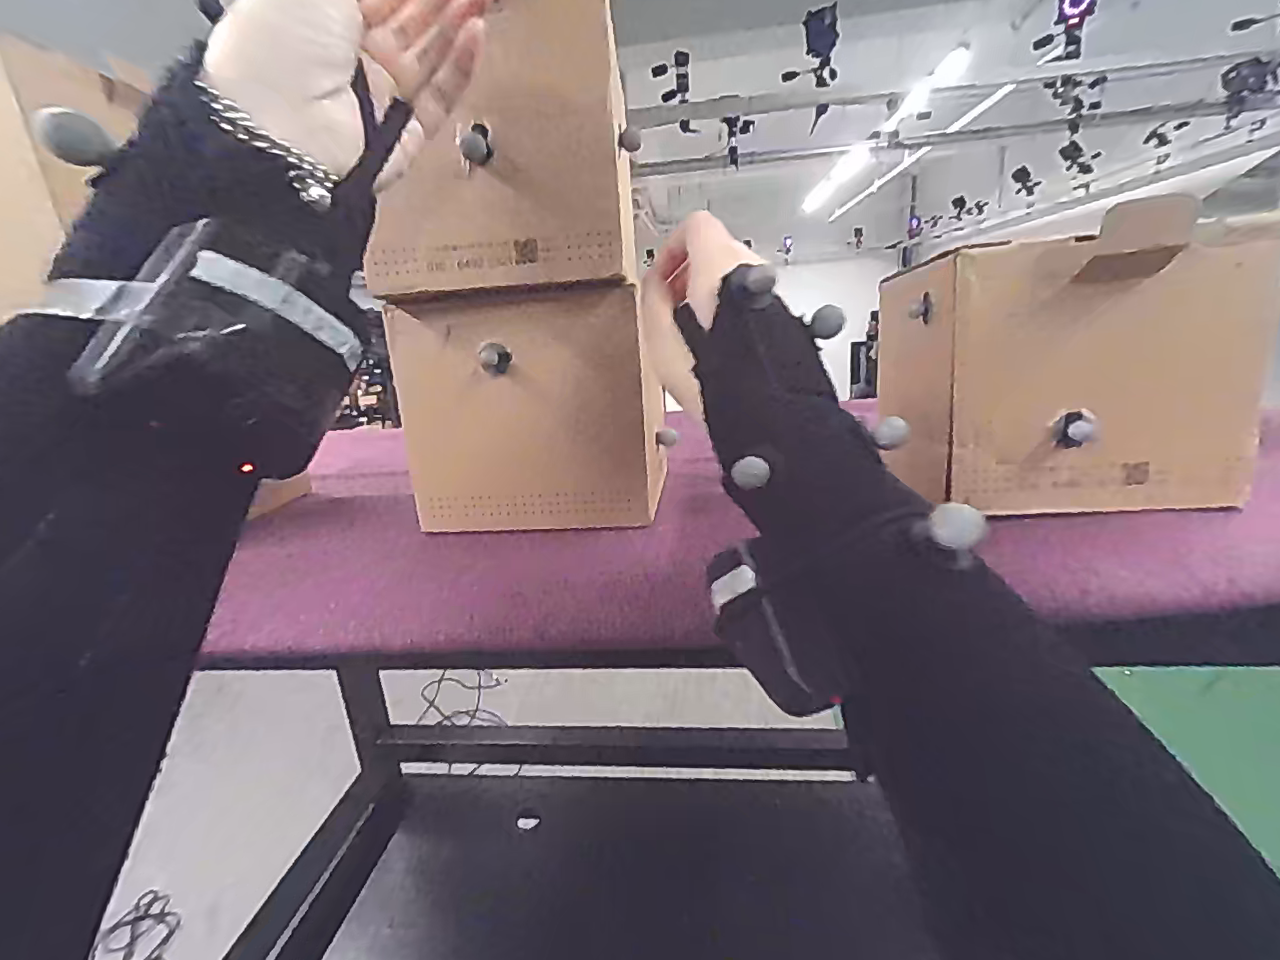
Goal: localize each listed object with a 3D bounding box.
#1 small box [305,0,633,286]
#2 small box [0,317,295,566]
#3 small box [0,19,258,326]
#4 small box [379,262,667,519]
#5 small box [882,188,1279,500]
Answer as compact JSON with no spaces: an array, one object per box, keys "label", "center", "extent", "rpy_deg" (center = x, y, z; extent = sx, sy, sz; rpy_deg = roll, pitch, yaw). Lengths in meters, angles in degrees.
[{"label":"small box","center":[-0.094,-0.225,0.392],"extent":[0.168,0.176,0.179],"rpy_deg":[-4,15,2]},{"label":"small box","center":[-0.424,-0.040,0.449],"extent":[0.168,0.176,0.179],"rpy_deg":[-5,17,3]},{"label":"small box","center":[-0.443,-0.199,0.408],"extent":[0.179,0.176,0.168],"rpy_deg":[-5,16,2]},{"label":"small box","center":[-0.075,-0.070,0.442],"extent":[0.179,0.176,0.168],"rpy_deg":[-2,15,7]},{"label":"small box","center":[0.282,-0.088,0.392],"extent":[0.168,0.176,0.179],"rpy_deg":[-4,14,10]}]
